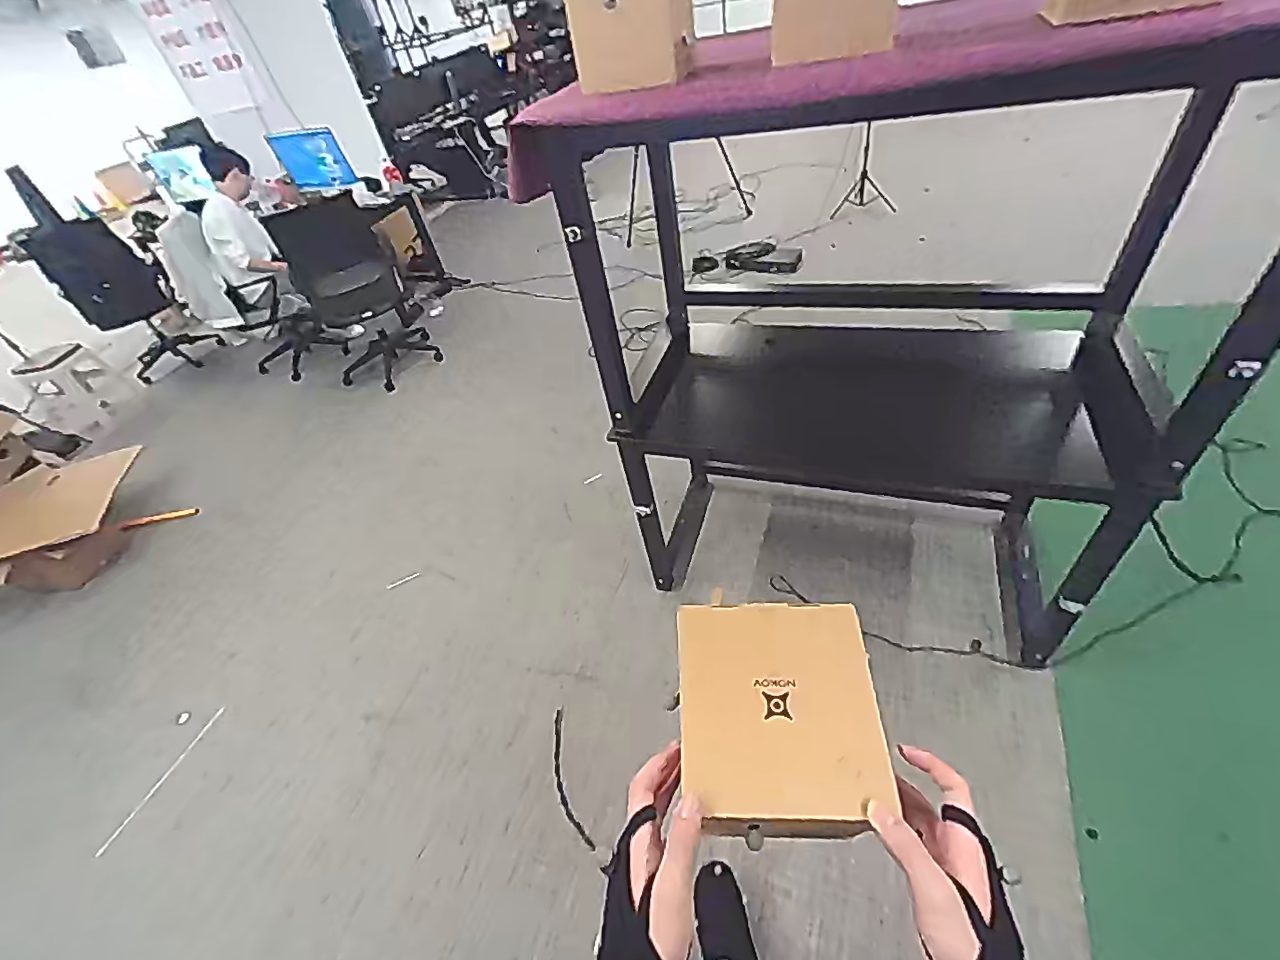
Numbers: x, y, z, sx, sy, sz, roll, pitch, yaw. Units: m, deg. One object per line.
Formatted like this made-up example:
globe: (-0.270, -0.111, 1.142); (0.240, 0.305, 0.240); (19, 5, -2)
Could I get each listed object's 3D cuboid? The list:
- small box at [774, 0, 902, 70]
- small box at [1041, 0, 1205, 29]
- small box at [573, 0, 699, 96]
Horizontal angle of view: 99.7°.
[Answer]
small box: (0.307, -0.754, 0.825); (0.179, 0.176, 0.168); (8, 46, 22)
small box: (0.650, -0.704, 0.688); (0.179, 0.176, 0.168); (8, 45, 21)
small box: (-0.004, -0.786, 0.936); (0.179, 0.176, 0.168); (6, 46, 18)
